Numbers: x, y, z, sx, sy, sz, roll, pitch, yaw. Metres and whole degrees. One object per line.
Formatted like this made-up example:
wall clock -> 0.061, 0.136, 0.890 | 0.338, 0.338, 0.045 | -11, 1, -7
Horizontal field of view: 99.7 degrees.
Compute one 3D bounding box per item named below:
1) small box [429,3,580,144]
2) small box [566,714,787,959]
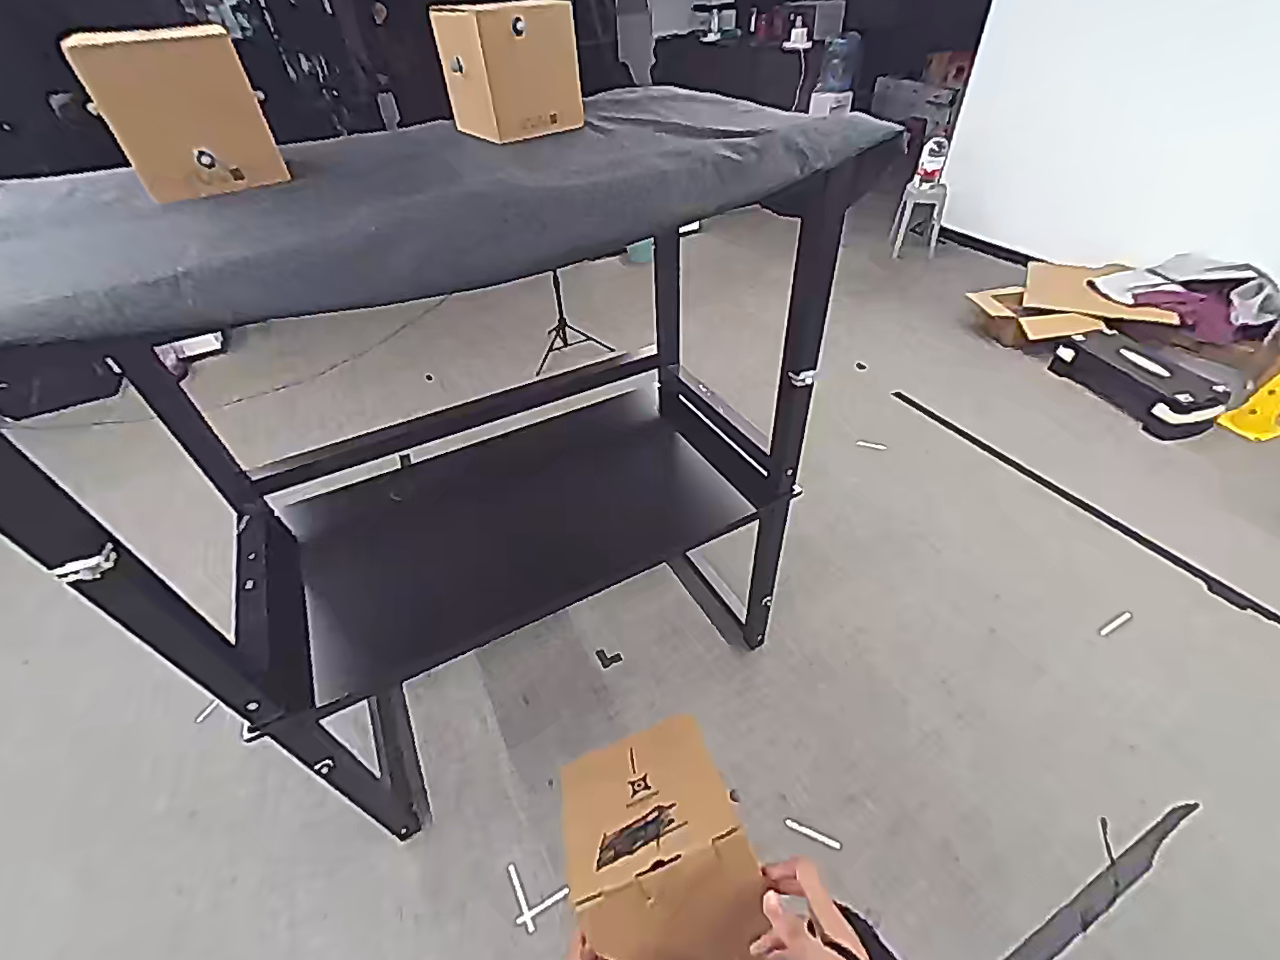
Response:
small box -> -0.219, -0.672, 0.896 | 0.168, 0.176, 0.179 | -30, 49, -25
small box -> 0.032, 0.395, 0.569 | 0.168, 0.176, 0.179 | -21, 15, -6
